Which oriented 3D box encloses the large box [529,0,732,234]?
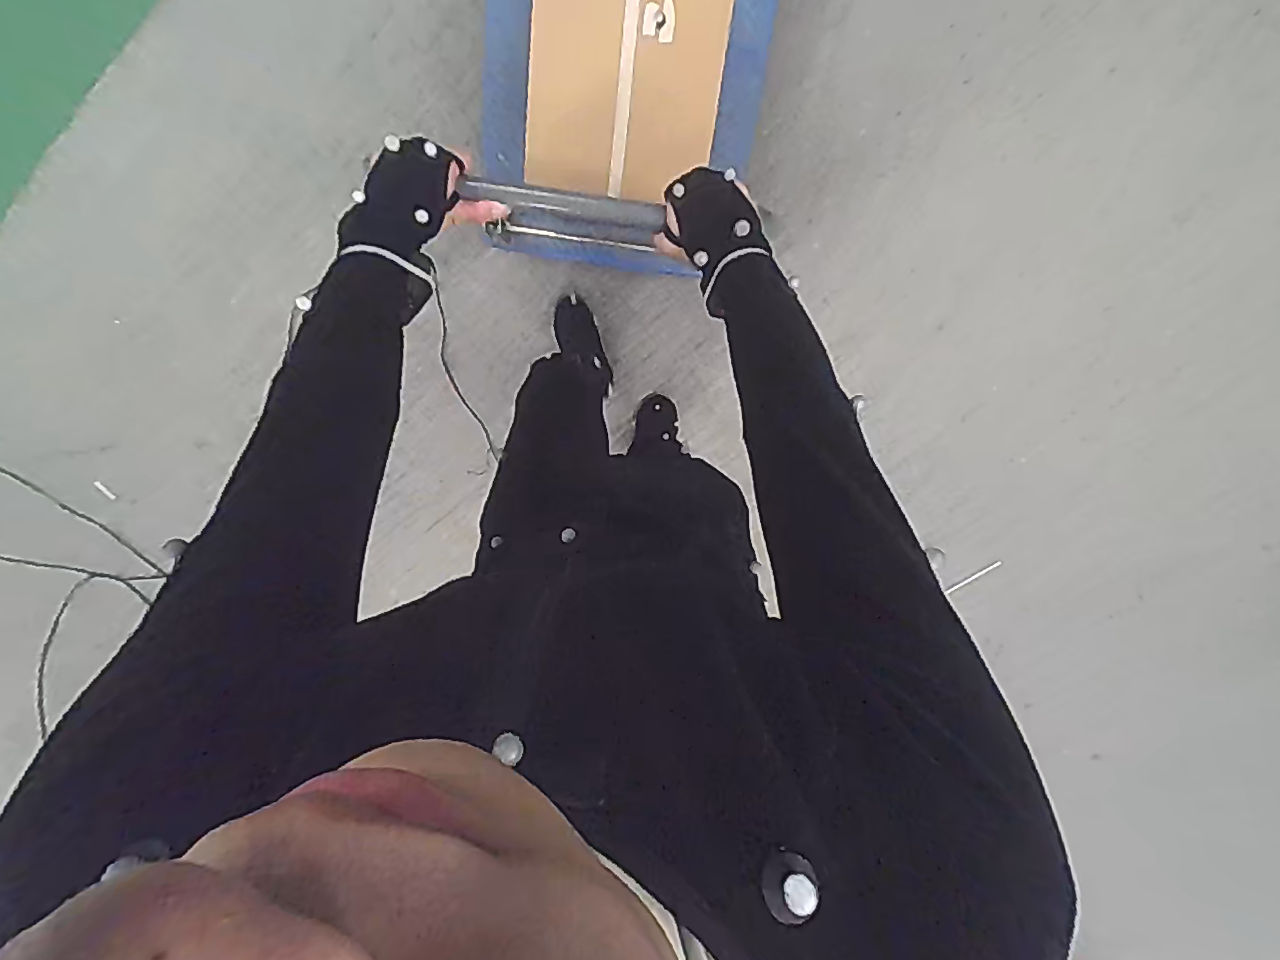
[{"bbox_3d":[-0.017,-0.717,1.037,0.320,0.320,0.408,8,110,-2],"label":"large box"}]
